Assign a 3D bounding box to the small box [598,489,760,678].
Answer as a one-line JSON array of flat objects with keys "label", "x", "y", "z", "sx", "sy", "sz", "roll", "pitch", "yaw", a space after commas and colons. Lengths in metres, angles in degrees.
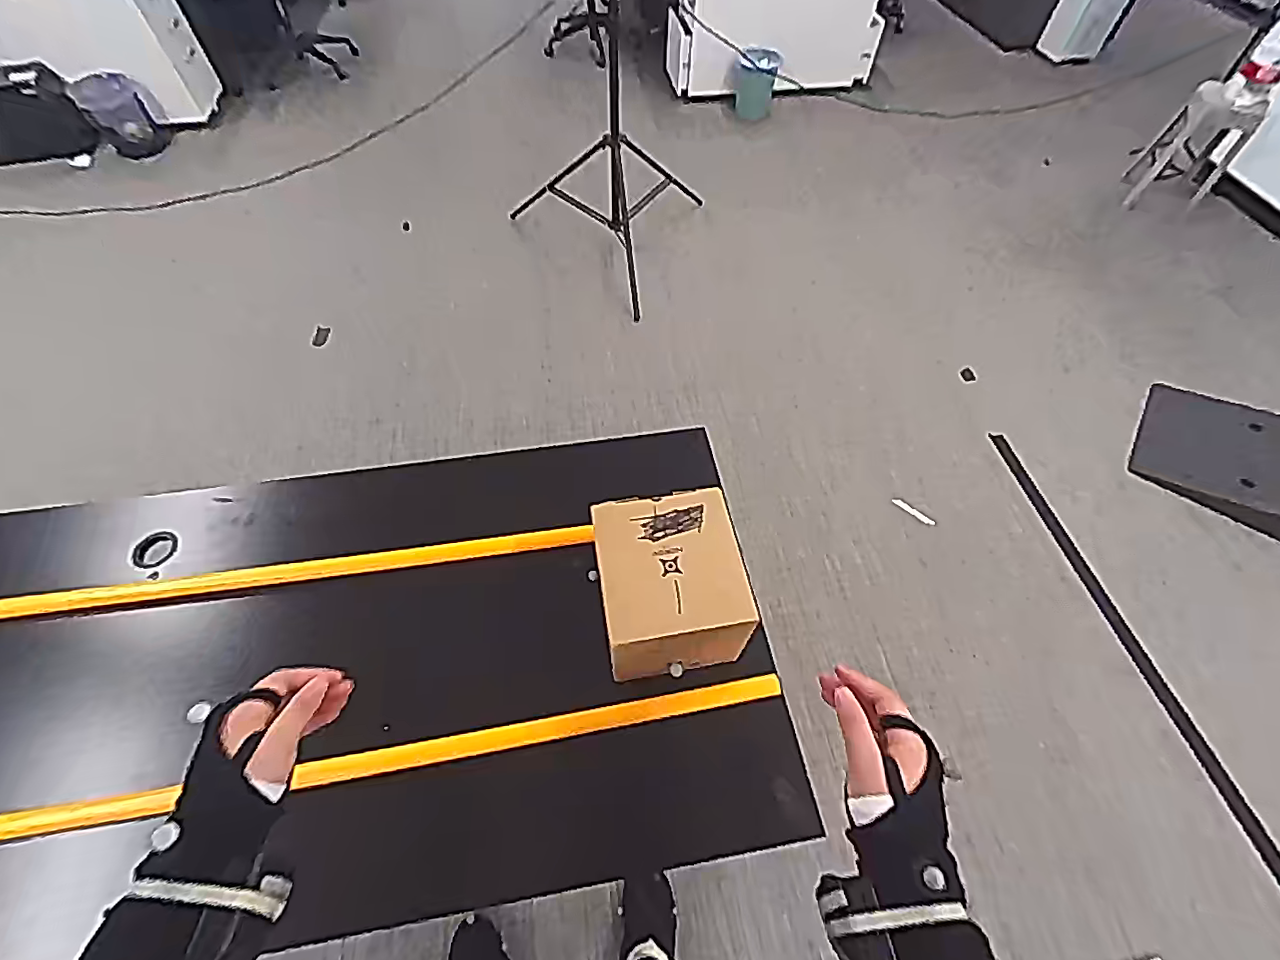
[{"label": "small box", "x": 0.038, "y": 0.136, "z": 0.699, "sx": 0.168, "sy": 0.176, "sz": 0.179, "roll": -8, "pitch": 58, "yaw": -5}]
